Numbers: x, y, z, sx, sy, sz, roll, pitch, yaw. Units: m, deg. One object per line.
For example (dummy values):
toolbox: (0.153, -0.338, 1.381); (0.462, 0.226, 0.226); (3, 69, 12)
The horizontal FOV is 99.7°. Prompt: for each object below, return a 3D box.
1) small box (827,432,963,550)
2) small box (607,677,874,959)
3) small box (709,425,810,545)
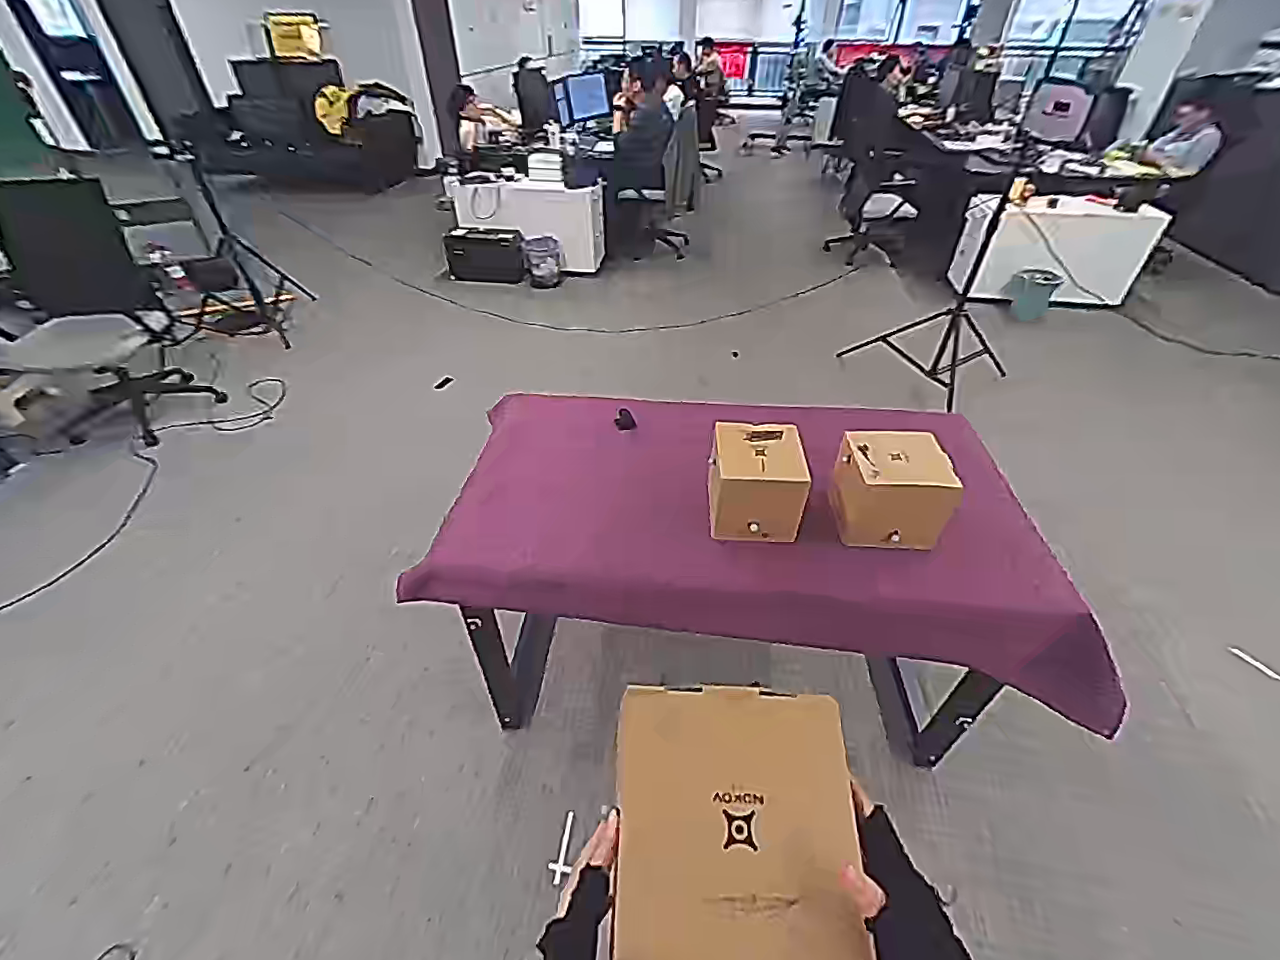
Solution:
small box: (0.493, 0.023, 1.074); (0.179, 0.176, 0.168); (2, 40, 2)
small box: (0.062, 0.272, 0.436); (0.168, 0.176, 0.179); (3, 58, -1)
small box: (0.230, 0.007, 1.090); (0.168, 0.176, 0.179); (2, 41, 2)
